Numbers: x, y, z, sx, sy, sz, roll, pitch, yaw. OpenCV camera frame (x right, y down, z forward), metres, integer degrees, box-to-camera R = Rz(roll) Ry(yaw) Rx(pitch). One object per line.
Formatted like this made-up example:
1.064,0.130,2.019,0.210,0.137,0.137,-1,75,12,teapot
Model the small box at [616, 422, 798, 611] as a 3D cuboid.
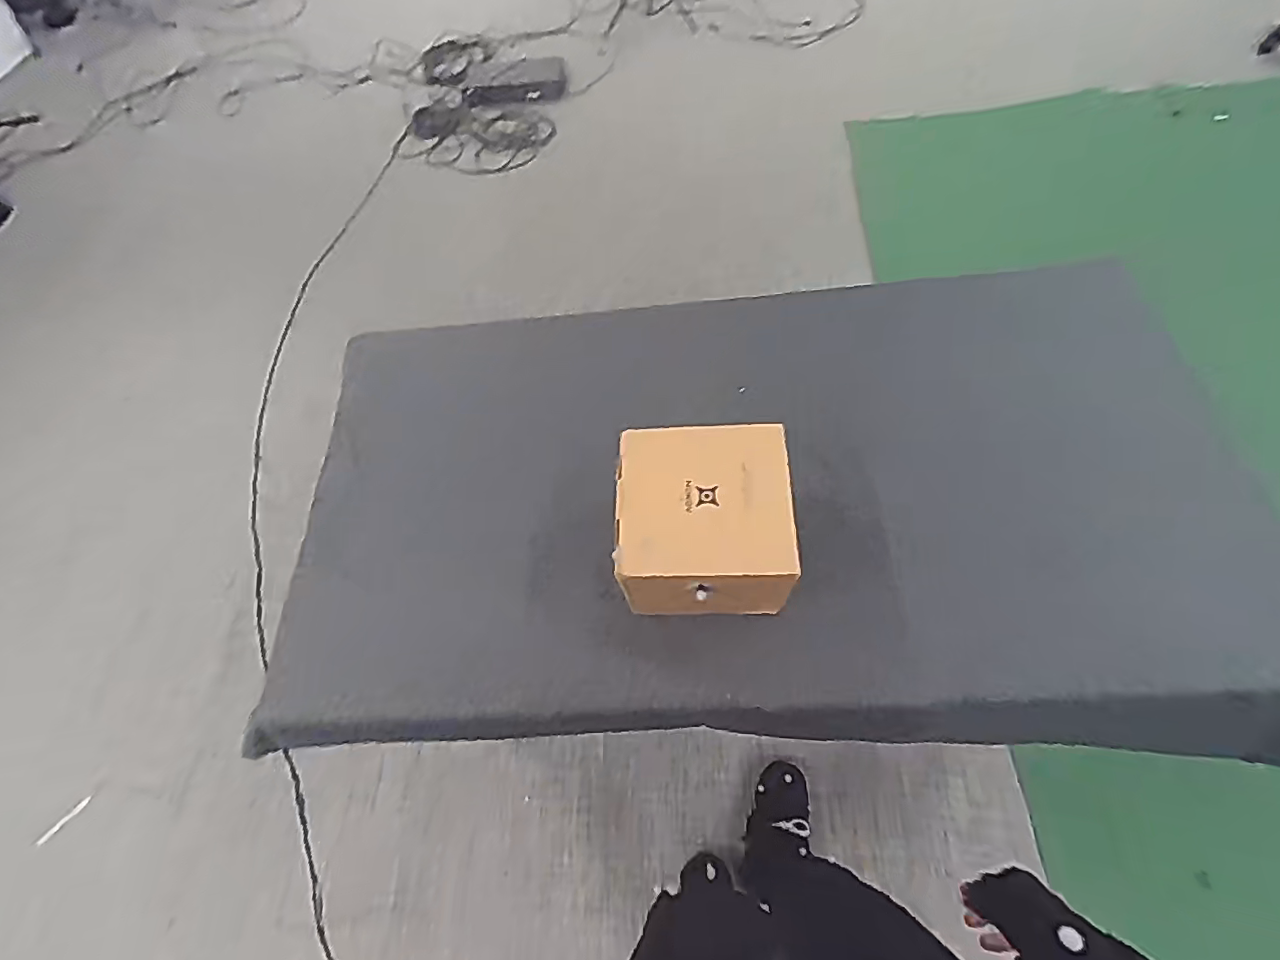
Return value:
0.072,0.050,0.619,0.179,0.176,0.168,-3,64,5,small box
